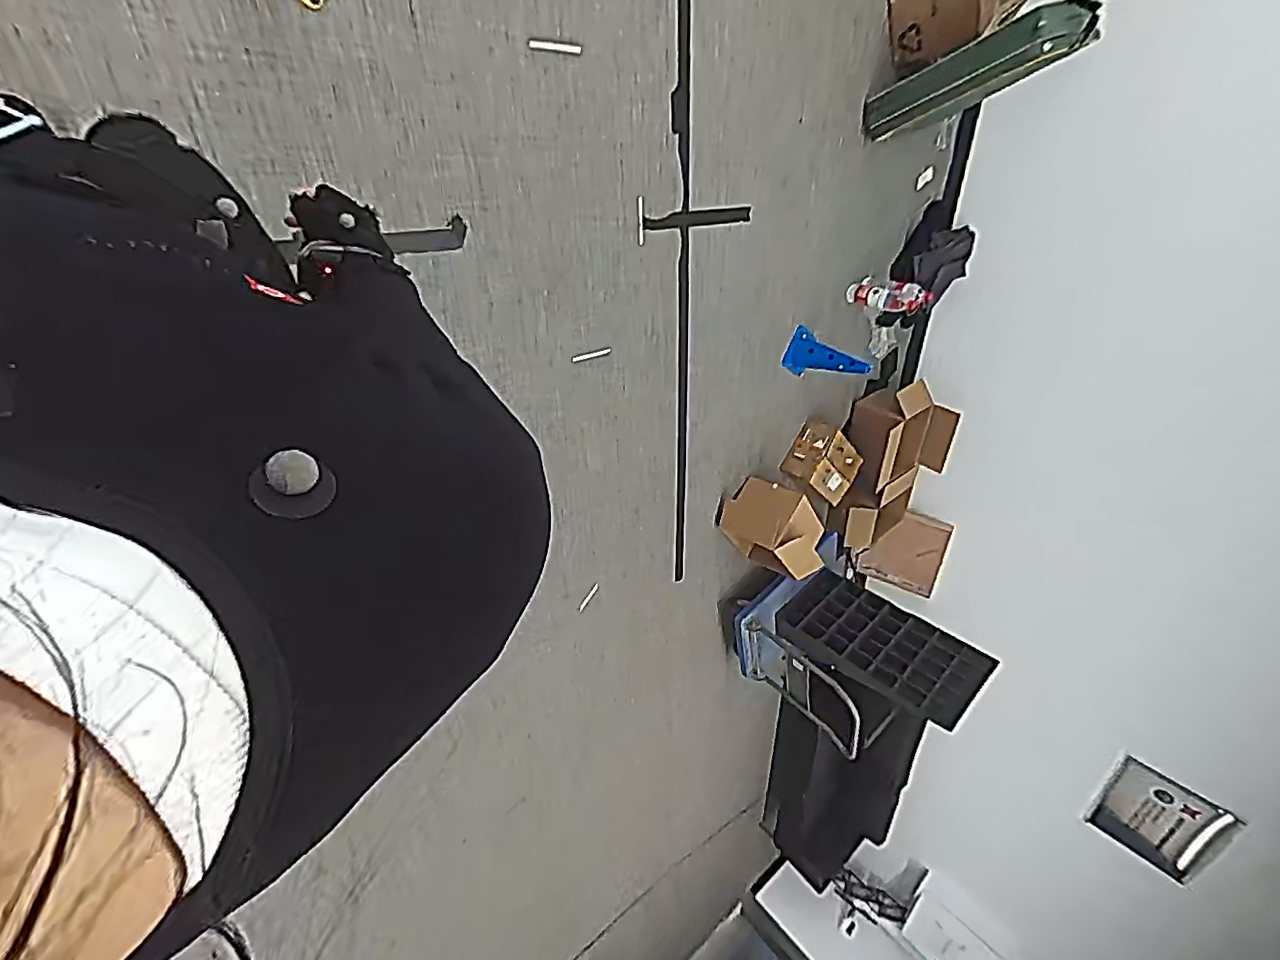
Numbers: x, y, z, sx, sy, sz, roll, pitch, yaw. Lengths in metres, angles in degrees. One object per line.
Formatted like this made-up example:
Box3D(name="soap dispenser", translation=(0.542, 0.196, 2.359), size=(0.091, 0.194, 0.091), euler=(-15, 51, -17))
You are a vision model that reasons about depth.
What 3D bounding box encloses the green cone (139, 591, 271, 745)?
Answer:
Box3D(name="green cone", translation=(-0.957, 0.452, 1.221), size=(0.202, 0.368, 0.200), euler=(-37, 133, -22))
